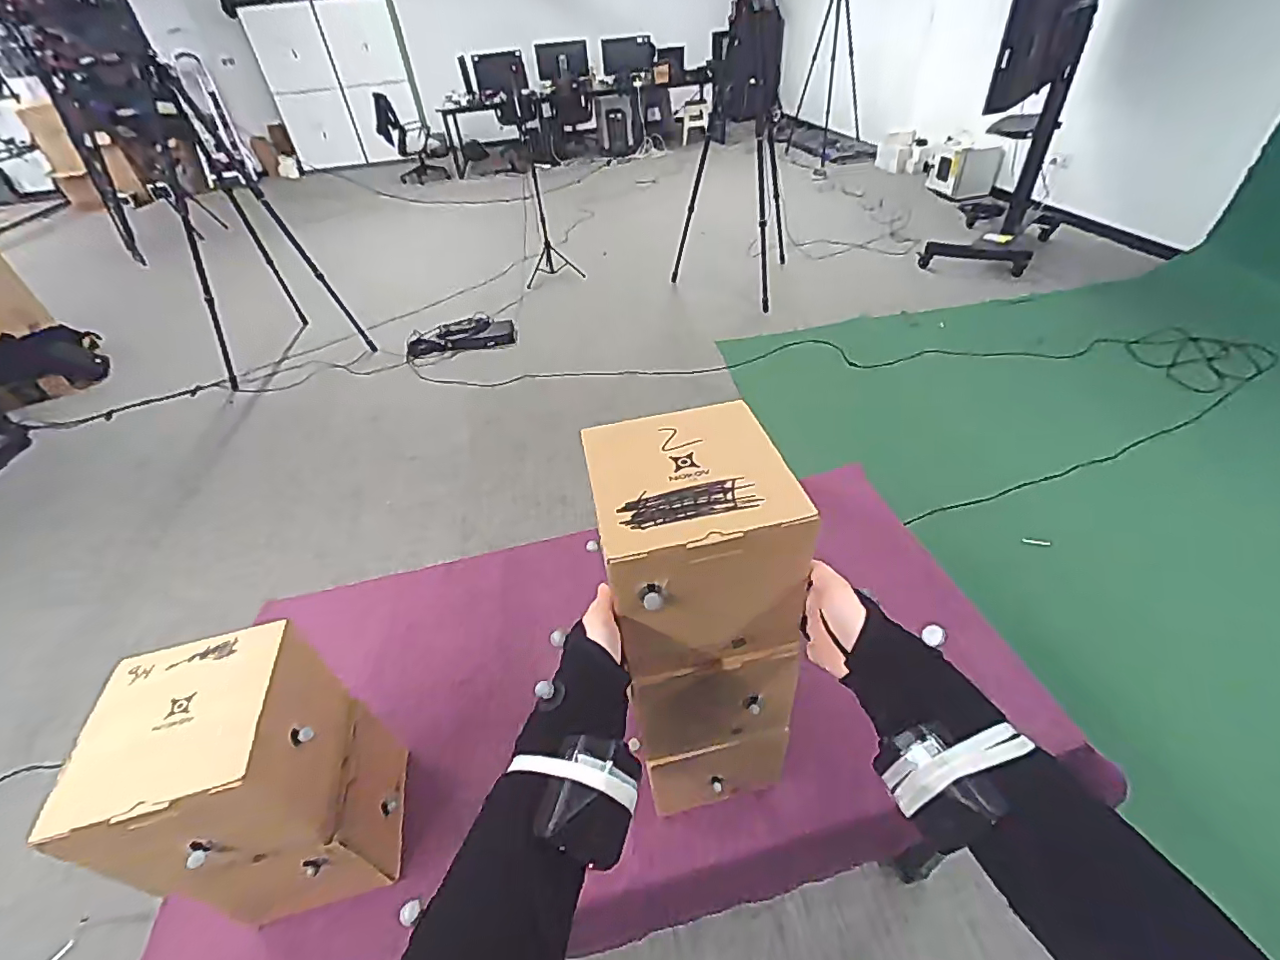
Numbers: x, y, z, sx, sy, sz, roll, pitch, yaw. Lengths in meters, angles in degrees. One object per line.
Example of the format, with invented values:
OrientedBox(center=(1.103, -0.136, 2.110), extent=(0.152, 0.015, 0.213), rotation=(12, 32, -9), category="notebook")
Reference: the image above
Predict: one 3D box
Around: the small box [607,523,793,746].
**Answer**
OrientedBox(center=(0.062, 0.180, 0.618), extent=(0.168, 0.176, 0.179), rotation=(-11, 40, -4), category="small box")

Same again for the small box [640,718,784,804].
OrientedBox(center=(0.079, 0.305, 0.722), extent=(0.168, 0.176, 0.179), rotation=(-12, 41, -5), category="small box")

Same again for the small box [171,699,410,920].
OrientedBox(center=(-0.411, 0.410, 0.675), extent=(0.179, 0.176, 0.168), rotation=(-13, 41, -8), category="small box")

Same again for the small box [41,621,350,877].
OrientedBox(center=(-0.431, 0.286, 0.569), extent=(0.168, 0.176, 0.179), rotation=(-13, 41, -9), category="small box")
